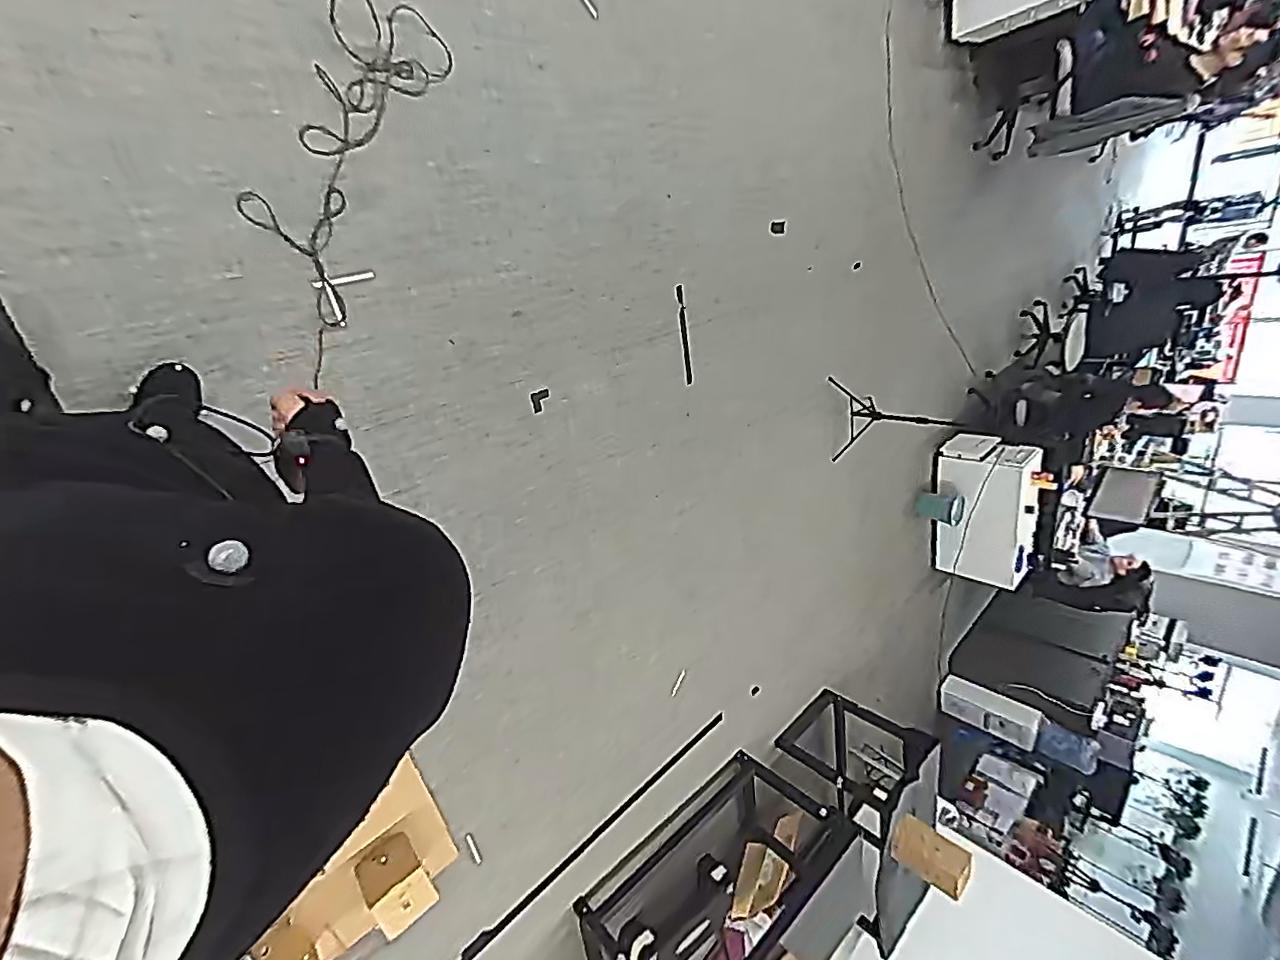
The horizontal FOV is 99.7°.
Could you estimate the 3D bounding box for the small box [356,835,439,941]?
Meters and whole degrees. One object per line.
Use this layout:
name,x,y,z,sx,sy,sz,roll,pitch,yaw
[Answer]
small box,-0.771,1.285,1.715,0.168,0.176,0.179,-29,118,-34

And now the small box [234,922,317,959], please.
small box,-1.028,1.417,1.528,0.168,0.176,0.179,-32,120,-32
